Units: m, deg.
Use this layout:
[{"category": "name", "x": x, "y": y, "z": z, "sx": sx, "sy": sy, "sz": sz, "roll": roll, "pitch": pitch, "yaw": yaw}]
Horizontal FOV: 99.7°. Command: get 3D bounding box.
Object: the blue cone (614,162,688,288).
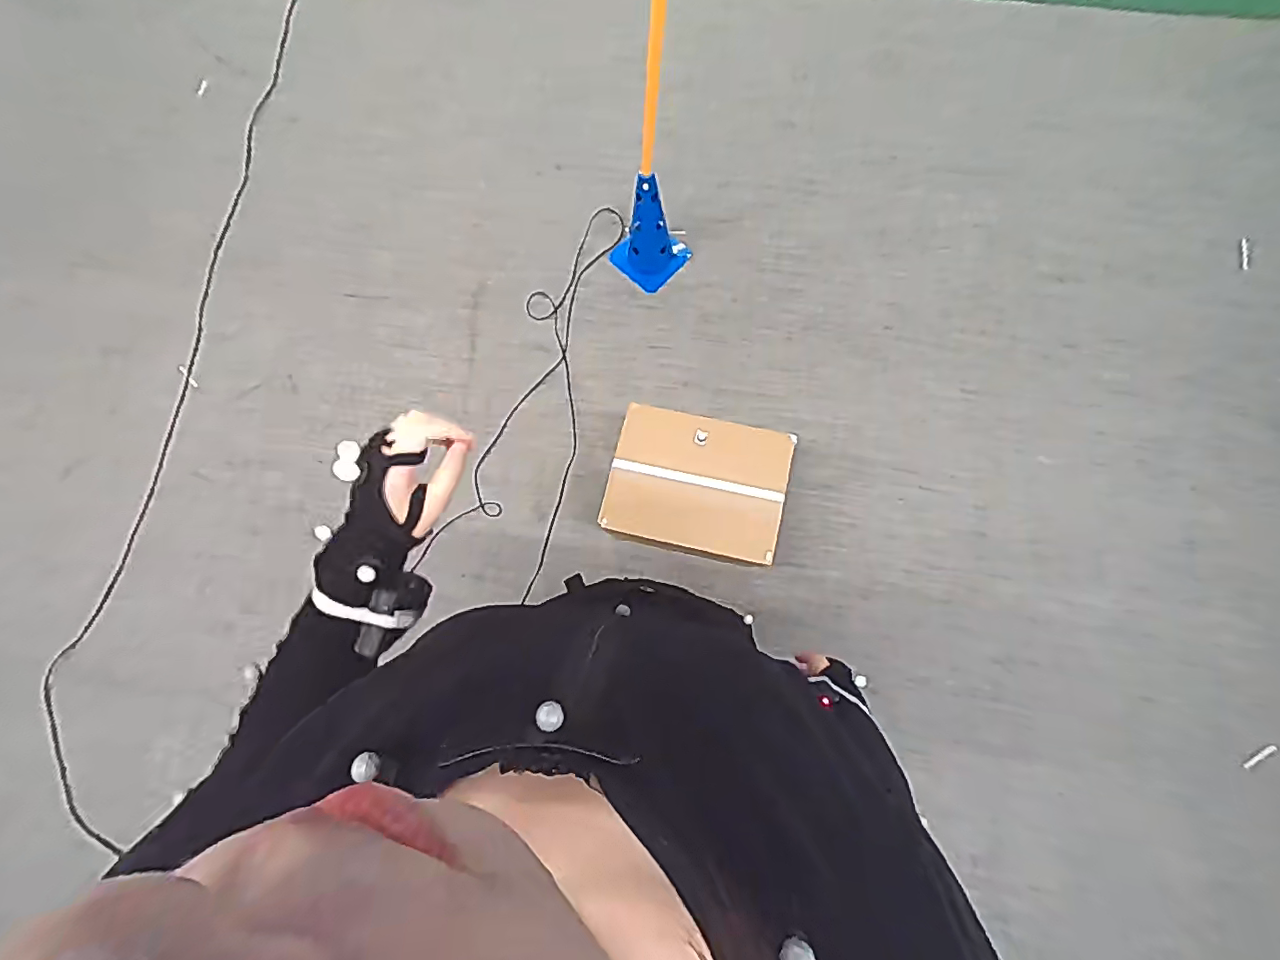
[{"category": "blue cone", "x": 0.030, "y": -0.743, "z": 1.523, "sx": 0.192, "sy": 0.380, "sz": 0.193, "roll": 41, "pitch": 82, "yaw": 8}]
